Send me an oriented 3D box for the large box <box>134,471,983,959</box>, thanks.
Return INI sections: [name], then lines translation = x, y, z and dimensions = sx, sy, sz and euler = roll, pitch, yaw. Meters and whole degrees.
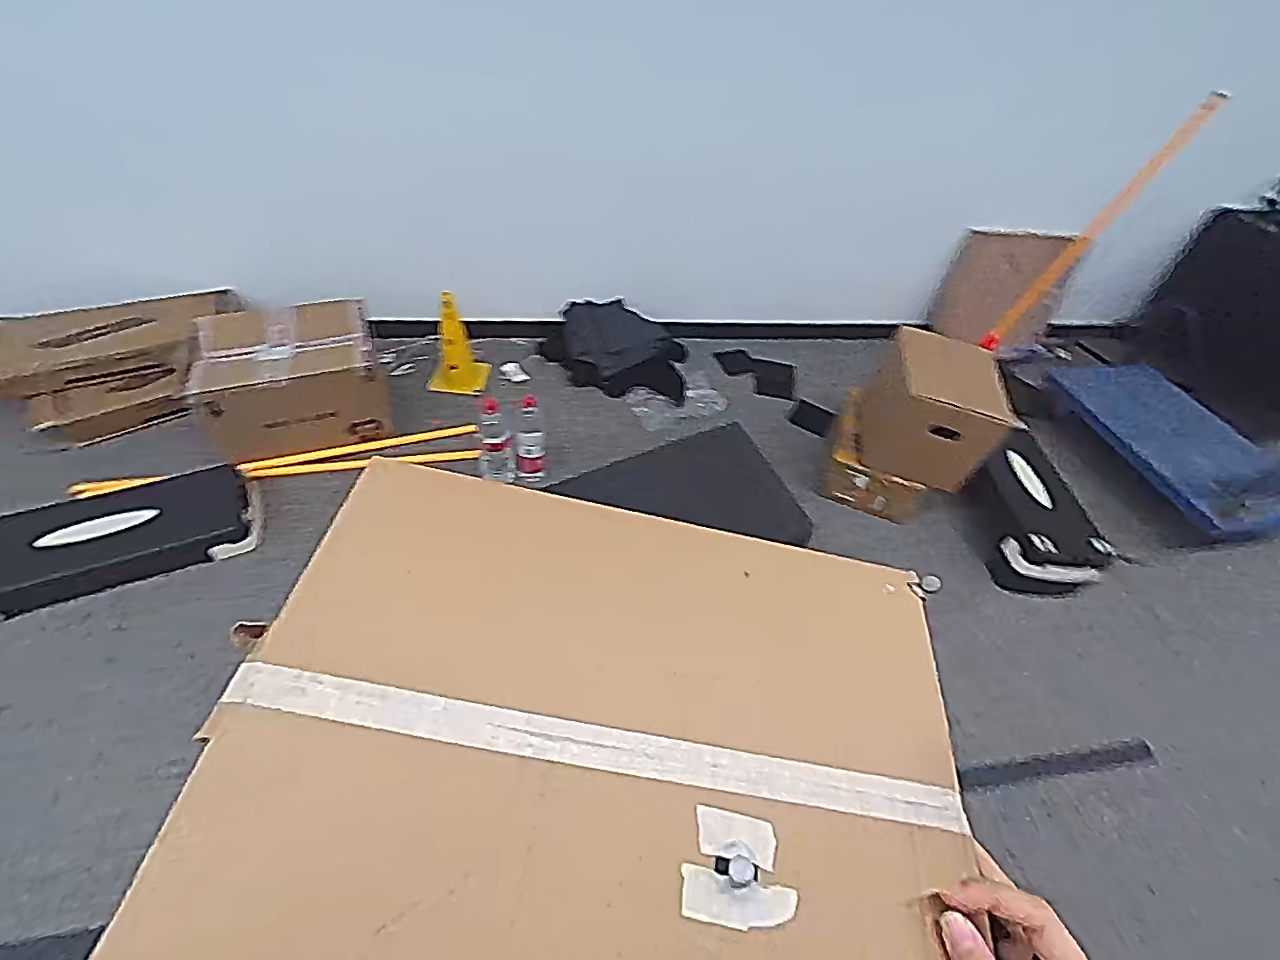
[large box]
translation = -0.034, 0.240, 0.427
dimensions = 0.408, 0.320, 0.320
euler = 14, 54, -4
